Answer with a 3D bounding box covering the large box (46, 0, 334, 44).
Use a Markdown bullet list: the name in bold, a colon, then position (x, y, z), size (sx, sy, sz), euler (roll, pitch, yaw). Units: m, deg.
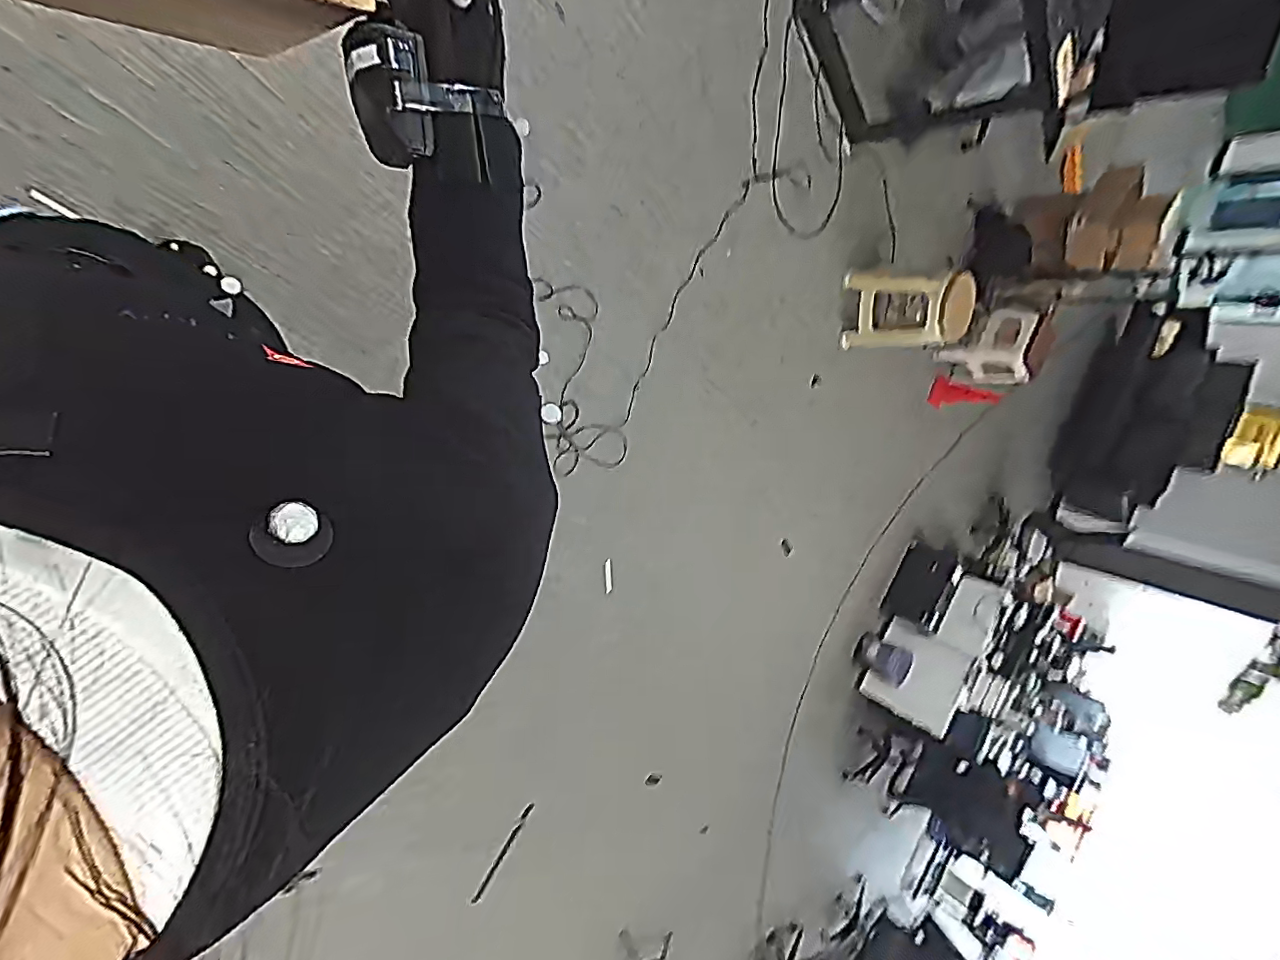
- **large box**: position (-0.383, -0.418, 0.206), size (0.408, 0.320, 0.320), euler (-16, 127, -38)
